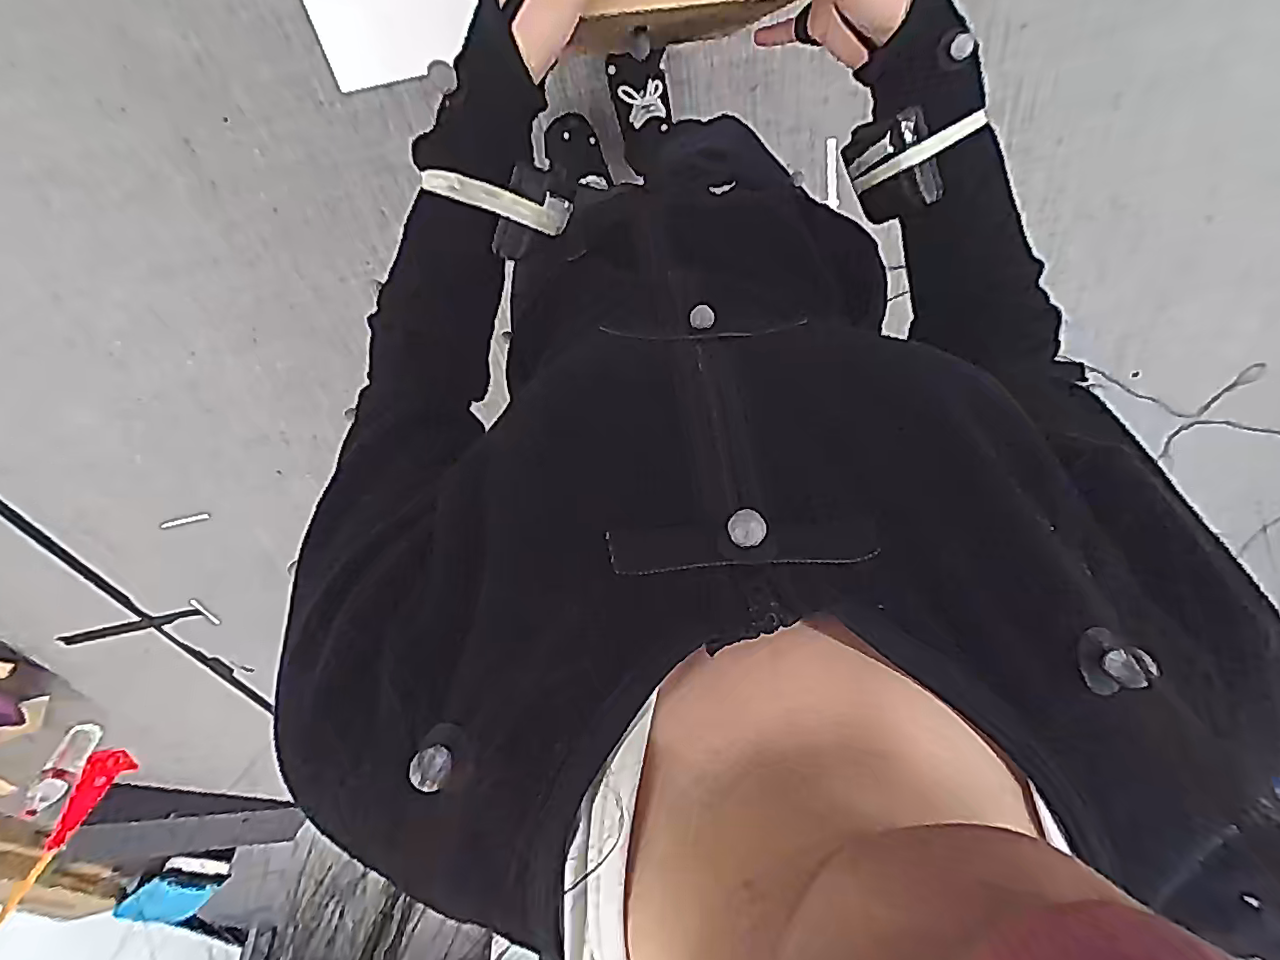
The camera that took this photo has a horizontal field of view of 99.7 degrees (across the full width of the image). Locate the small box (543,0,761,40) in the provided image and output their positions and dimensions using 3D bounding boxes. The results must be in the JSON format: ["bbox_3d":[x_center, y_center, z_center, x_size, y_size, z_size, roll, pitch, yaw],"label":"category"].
[{"bbox_3d":[0.009,-0.413,0.353,0.168,0.176,0.179,-11,121,-6],"label":"small box"}]
